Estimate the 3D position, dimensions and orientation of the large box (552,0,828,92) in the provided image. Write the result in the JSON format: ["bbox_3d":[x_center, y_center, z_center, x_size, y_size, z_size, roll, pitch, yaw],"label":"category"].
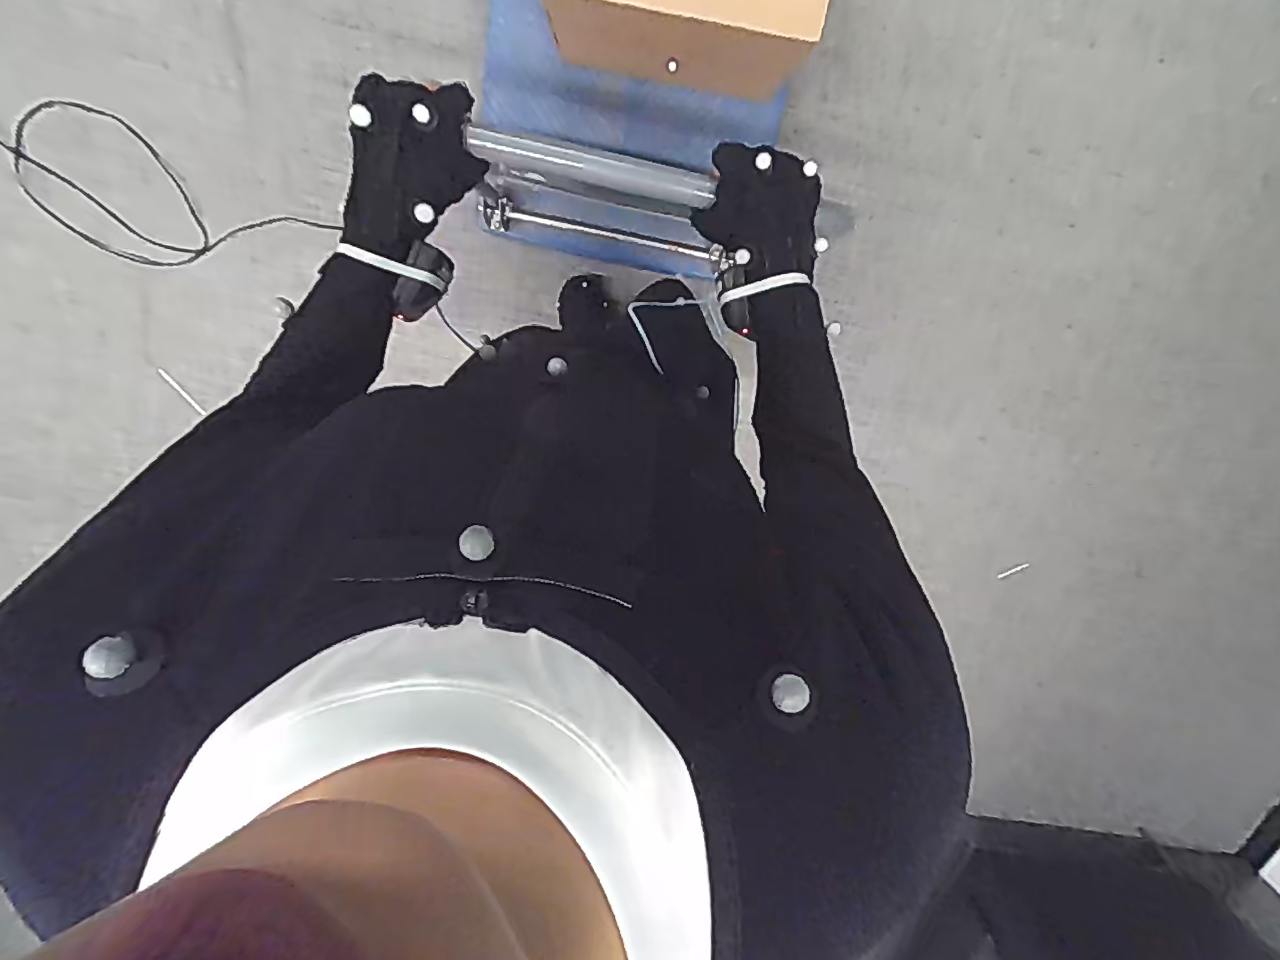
[{"bbox_3d":[0.086,-0.862,0.859,0.408,0.320,0.320,7,111,-3],"label":"large box"}]
